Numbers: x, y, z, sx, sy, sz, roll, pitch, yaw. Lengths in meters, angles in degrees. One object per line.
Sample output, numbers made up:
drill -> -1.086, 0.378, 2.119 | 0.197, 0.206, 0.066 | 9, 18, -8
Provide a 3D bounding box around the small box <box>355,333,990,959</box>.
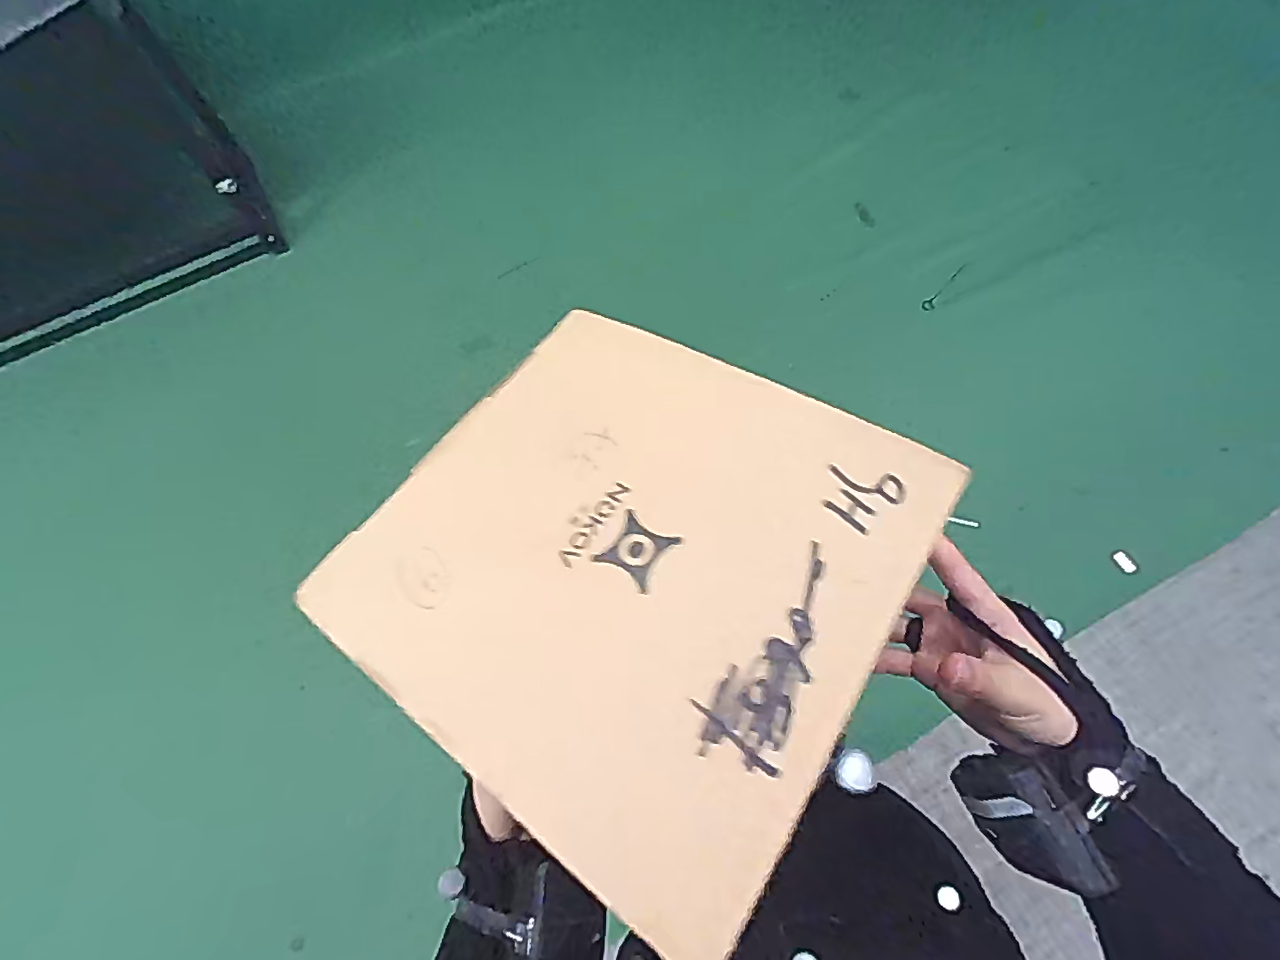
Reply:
small box -> 0.018, 0.067, 0.262 | 0.179, 0.176, 0.168 | 29, 69, 24
